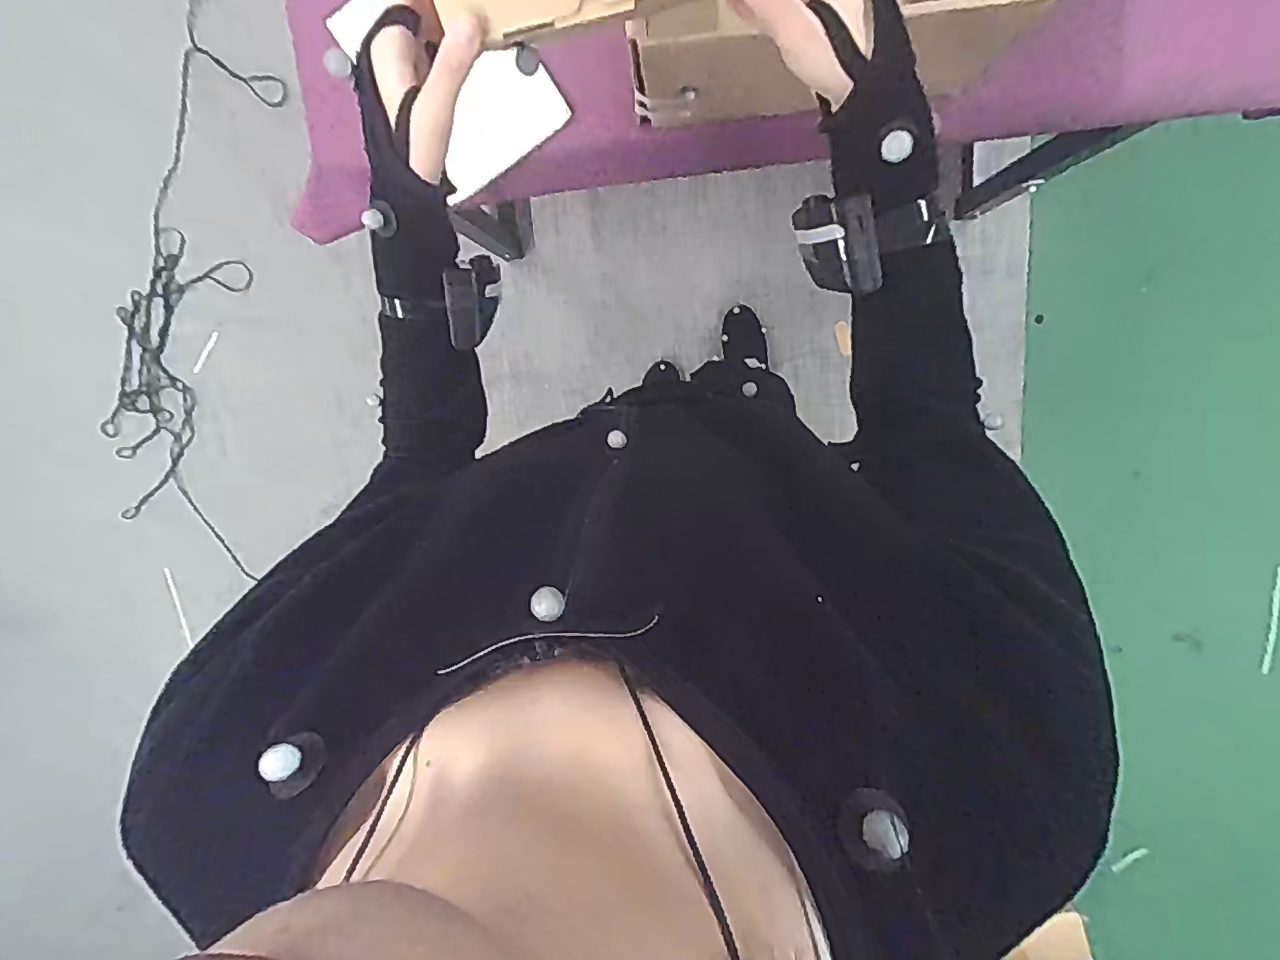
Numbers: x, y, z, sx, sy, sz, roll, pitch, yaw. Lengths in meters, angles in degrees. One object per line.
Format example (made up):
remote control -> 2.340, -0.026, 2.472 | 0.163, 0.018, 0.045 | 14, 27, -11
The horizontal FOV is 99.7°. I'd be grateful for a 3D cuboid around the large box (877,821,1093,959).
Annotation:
large box -> 0.954, 1.245, 1.515 | 0.408, 0.320, 0.320 | -19, 100, 6
